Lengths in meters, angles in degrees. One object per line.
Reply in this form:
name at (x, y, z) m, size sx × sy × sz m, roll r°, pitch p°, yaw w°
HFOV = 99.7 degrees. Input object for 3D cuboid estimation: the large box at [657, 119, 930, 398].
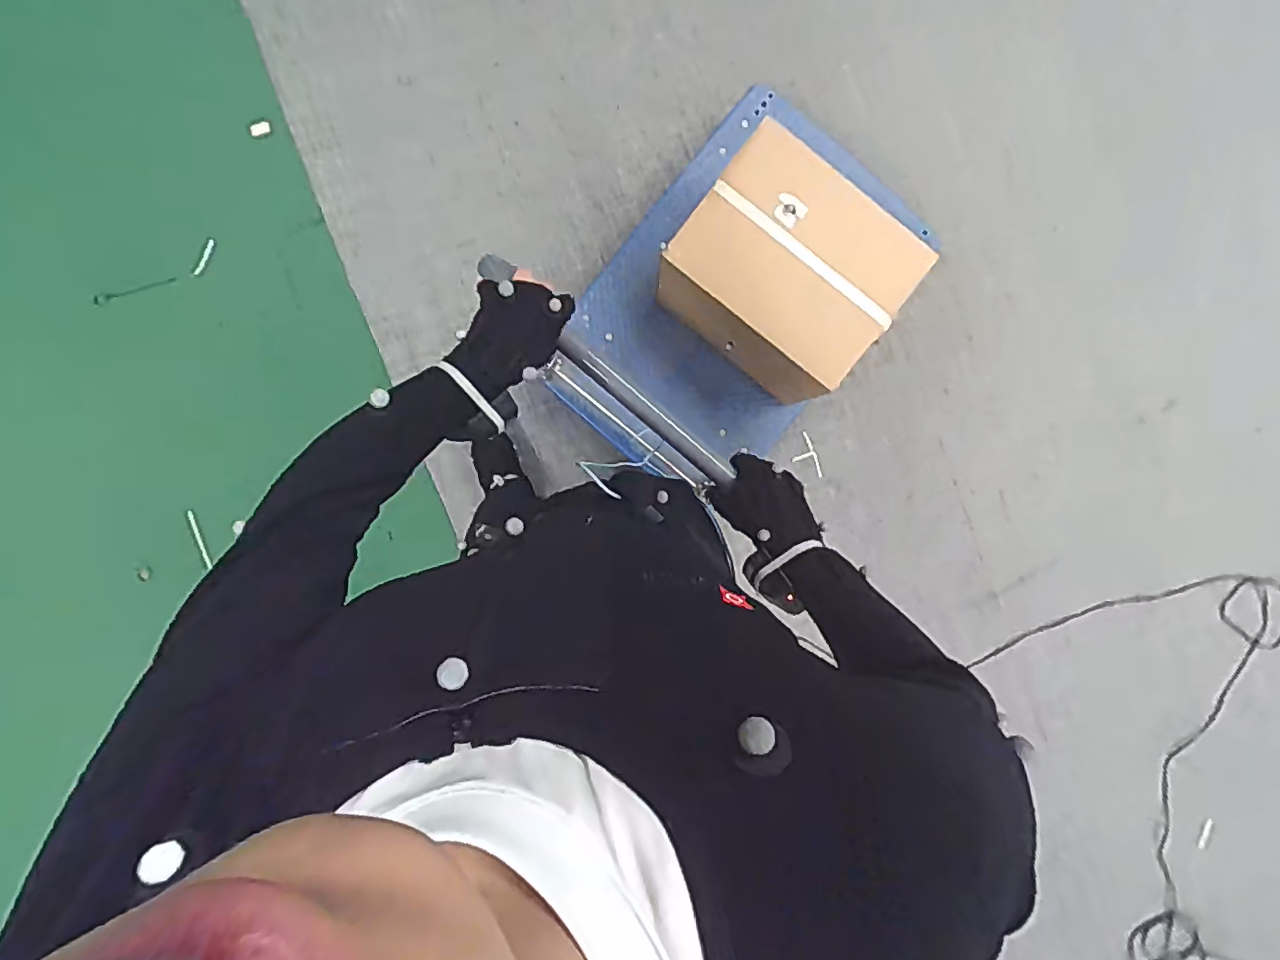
large box at (0.283, -0.421, 1.130) m, size 0.408 × 0.320 × 0.320 m, roll 39°, pitch 93°, yaw -1°
